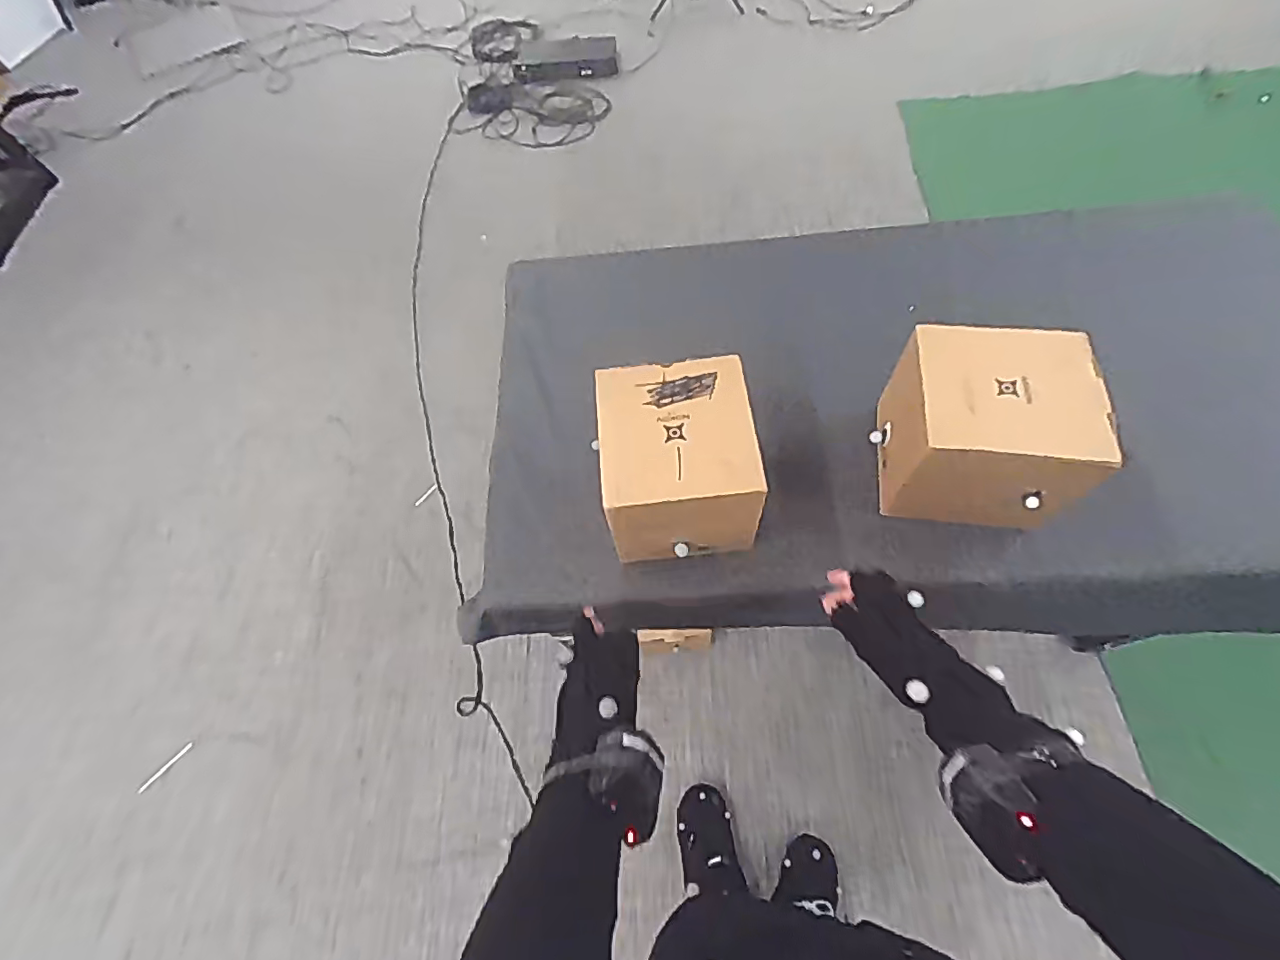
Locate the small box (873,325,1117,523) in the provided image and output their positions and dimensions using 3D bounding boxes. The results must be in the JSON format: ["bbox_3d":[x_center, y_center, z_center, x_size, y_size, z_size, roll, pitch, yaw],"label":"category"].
[{"bbox_3d":[0.392,-0.058,0.636,0.179,0.176,0.168,4,62,9],"label":"small box"}]

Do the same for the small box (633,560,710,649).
[{"bbox_3d":[0.078,0.306,1.300,0.168,0.176,0.179,-6,63,3],"label":"small box"}]

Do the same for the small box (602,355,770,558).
[{"bbox_3d":[0.048,-0.022,0.646,0.168,0.176,0.179,-6,62,2],"label":"small box"}]
